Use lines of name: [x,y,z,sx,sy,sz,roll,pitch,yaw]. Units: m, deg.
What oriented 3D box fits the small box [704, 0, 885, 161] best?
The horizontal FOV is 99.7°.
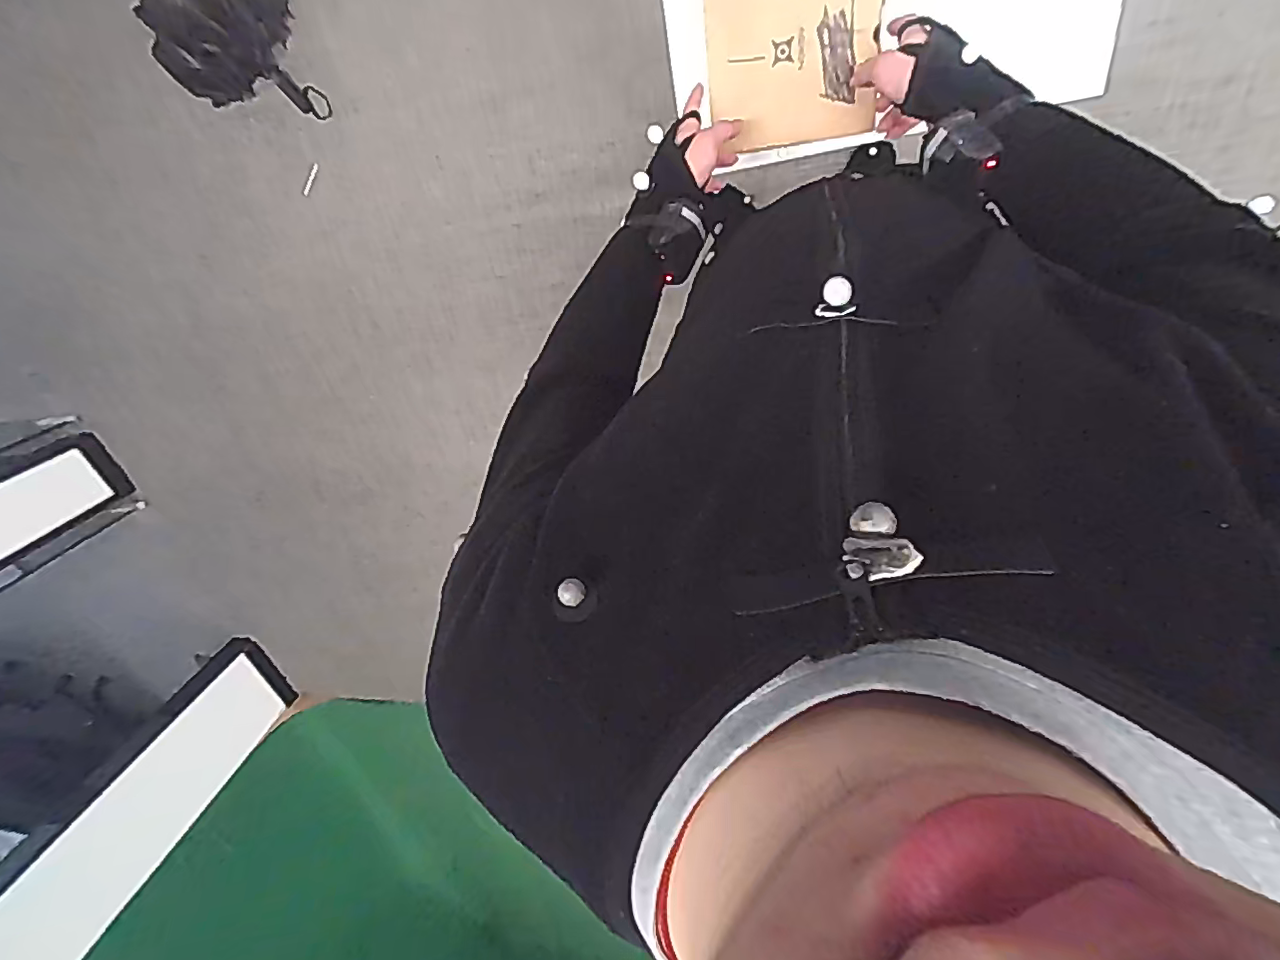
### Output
small box: [0.173,-0.478,0.624,0.179,0.176,0.168,1,122,15]
